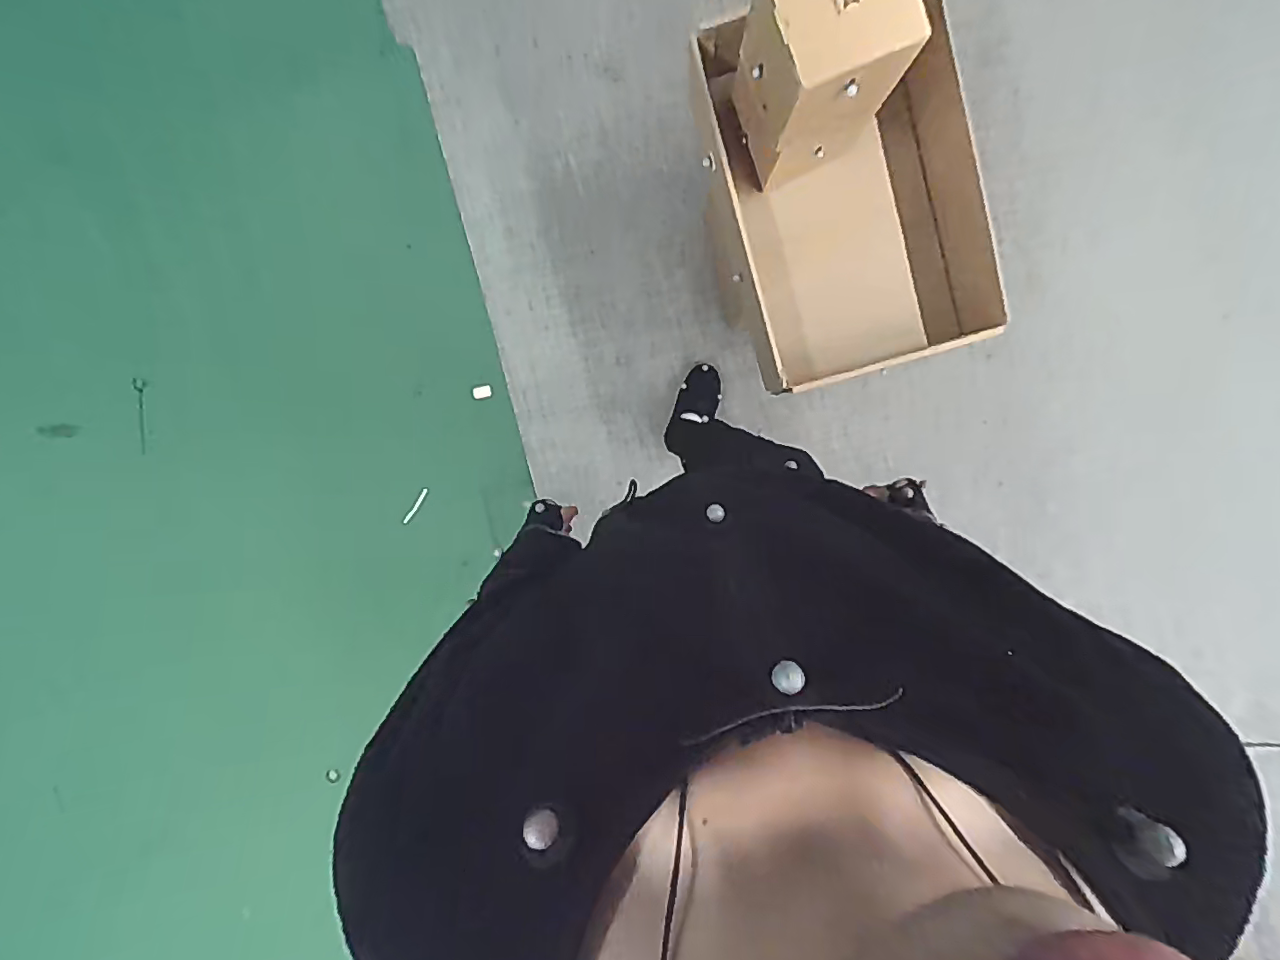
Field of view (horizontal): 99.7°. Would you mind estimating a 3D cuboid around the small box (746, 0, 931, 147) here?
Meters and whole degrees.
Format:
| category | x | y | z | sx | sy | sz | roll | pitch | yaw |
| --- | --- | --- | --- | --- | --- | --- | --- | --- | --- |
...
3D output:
| category | x | y | z | sx | sy | sz | roll | pitch | yaw |
| --- | --- | --- | --- | --- | --- | --- | --- | --- | --- |
| small box | 0.267 | -0.619 | 0.766 | 0.179 | 0.176 | 0.168 | -20 | 95 | 5 |
